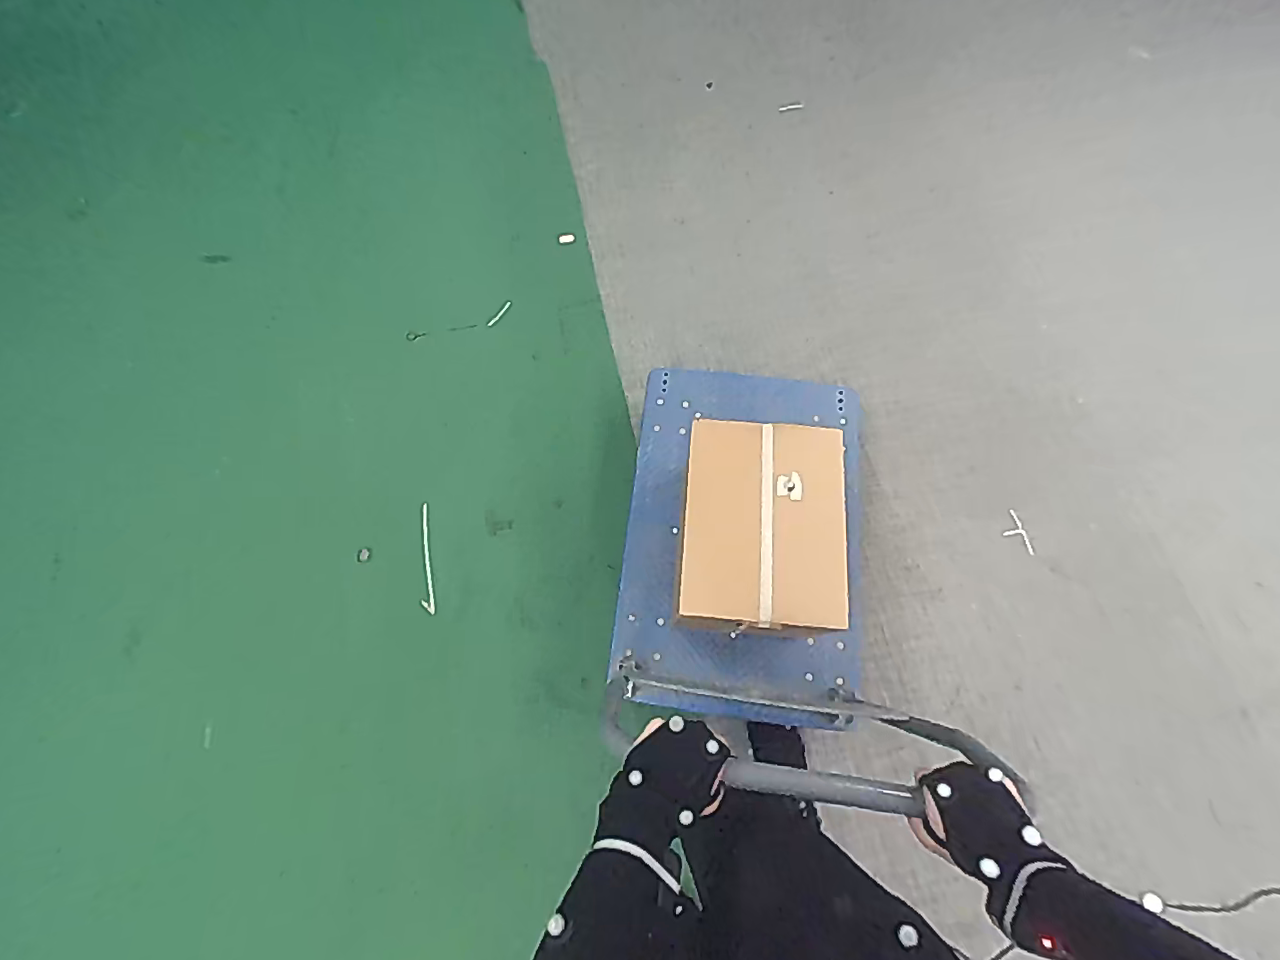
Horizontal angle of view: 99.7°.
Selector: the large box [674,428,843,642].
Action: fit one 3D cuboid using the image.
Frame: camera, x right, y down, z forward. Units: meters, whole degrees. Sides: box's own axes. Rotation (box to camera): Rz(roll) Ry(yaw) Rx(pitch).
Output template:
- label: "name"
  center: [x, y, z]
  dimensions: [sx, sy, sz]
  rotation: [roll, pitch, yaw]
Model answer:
- label: "large box"
  center: [0.239, 0.138, 1.202]
  dimensions: [0.320, 0.320, 0.408]
  rotation: [5, 71, 2]
